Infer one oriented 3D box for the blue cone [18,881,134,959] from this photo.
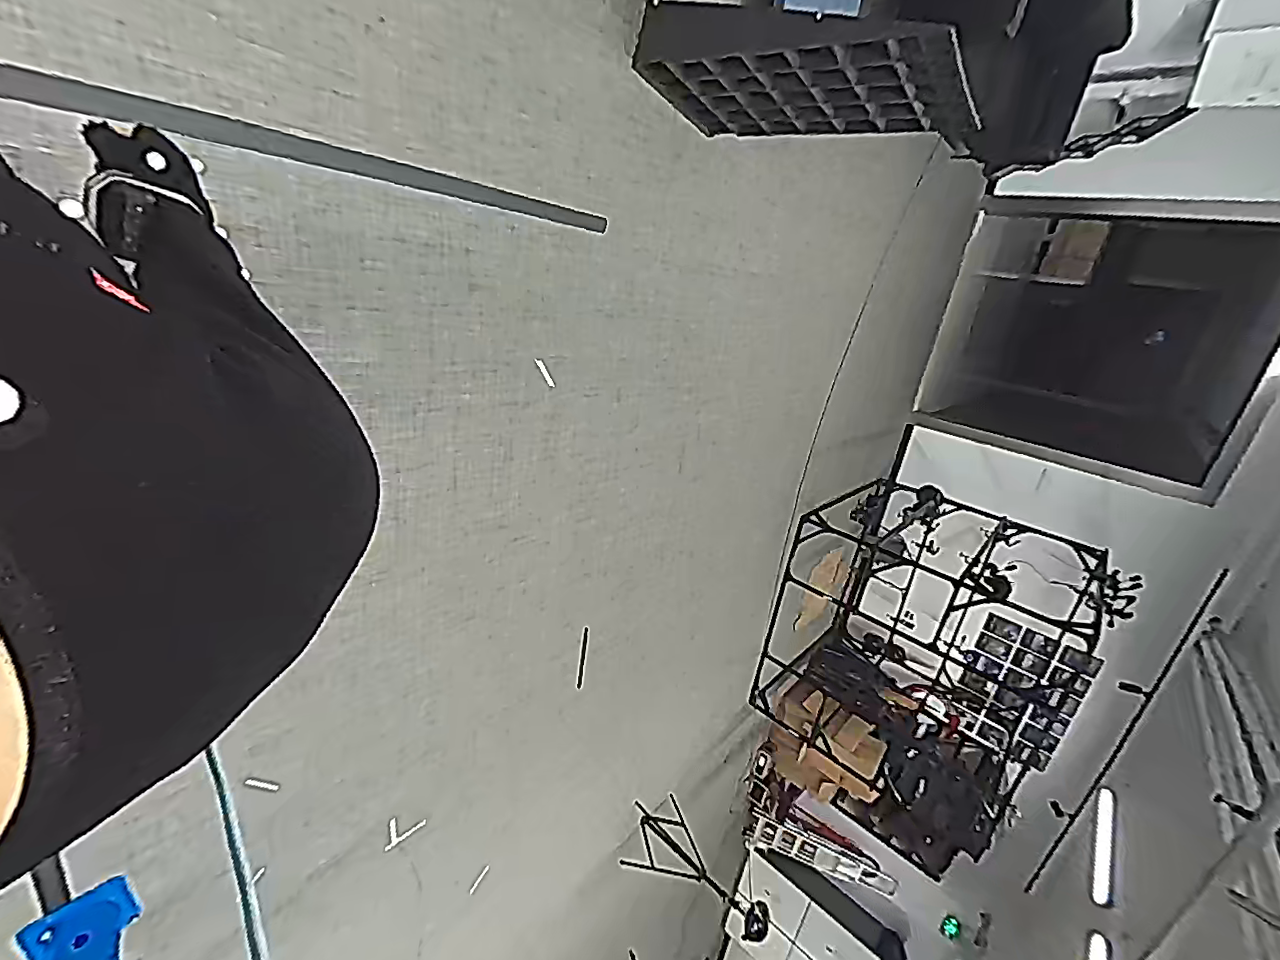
[{"bbox_3d":[-1.333,1.216,1.309,0.192,0.380,0.193,-20,125,-47],"label":"blue cone"}]
